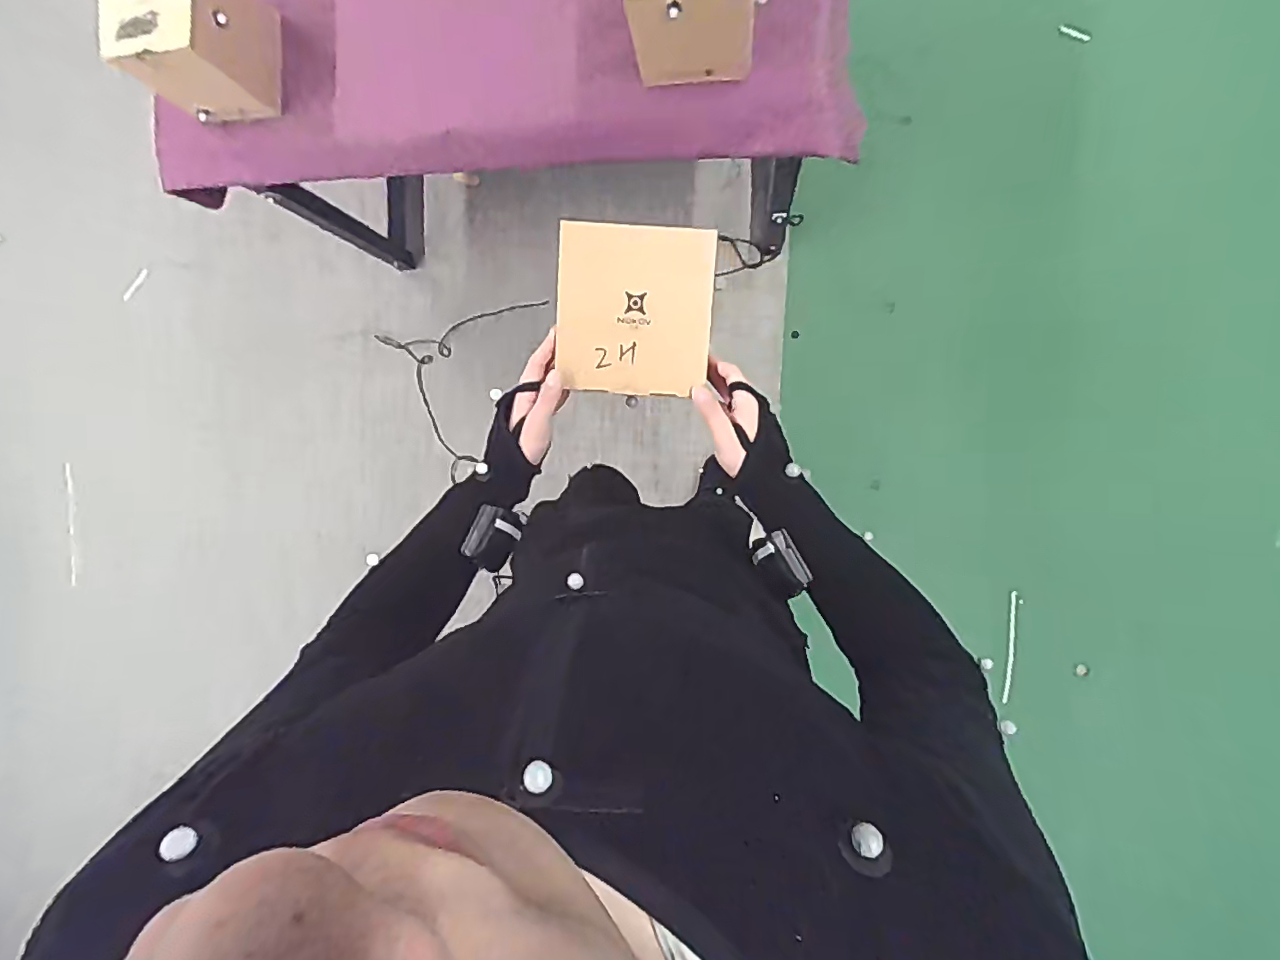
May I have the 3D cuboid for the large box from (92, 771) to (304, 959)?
[{"bbox_3d":[-1.430,1.255,1.776,0.408,0.320,0.320,26,97,6],"label":"large box"}]

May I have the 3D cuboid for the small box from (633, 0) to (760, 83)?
[{"bbox_3d":[0.083,-0.699,0.752,0.168,0.176,0.179,4,91,10],"label":"small box"}]

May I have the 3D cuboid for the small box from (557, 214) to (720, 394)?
[{"bbox_3d":[-0.002,-0.197,0.648,0.168,0.176,0.179,3,100,1],"label":"small box"}]

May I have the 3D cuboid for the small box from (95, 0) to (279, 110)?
[{"bbox_3d":[-0.724,-0.734,0.878,0.168,0.176,0.179,2,93,8],"label":"small box"}]
